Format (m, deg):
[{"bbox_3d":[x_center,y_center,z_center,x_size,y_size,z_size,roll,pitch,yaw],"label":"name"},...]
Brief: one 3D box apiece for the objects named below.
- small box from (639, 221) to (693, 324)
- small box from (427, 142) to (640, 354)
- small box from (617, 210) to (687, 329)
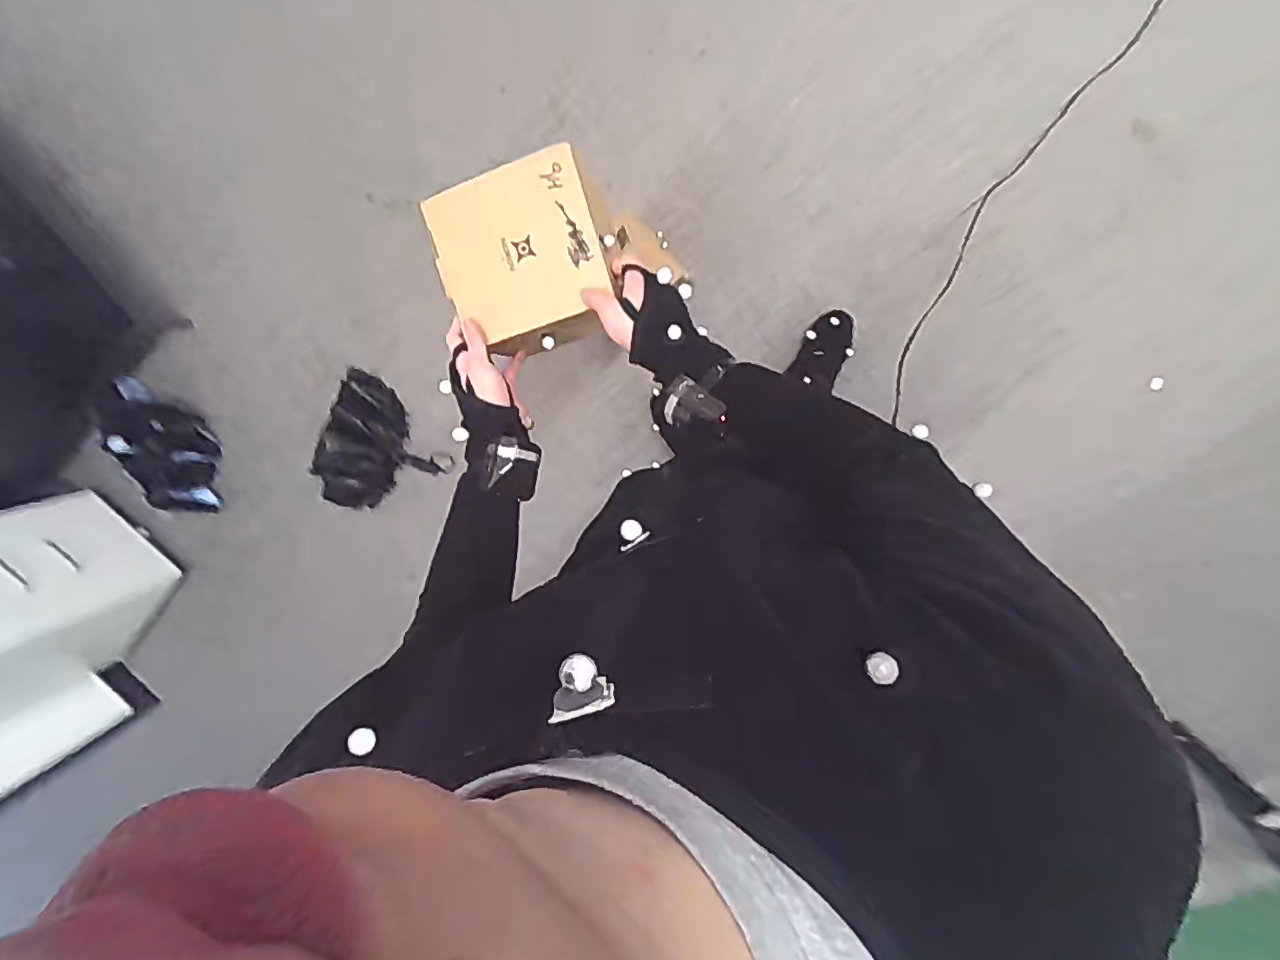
[{"bbox_3d":[0.015,-0.501,1.339,0.168,0.176,0.179,-42,96,19],"label":"small box"},{"bbox_3d":[-0.113,-0.255,0.645,0.179,0.176,0.168,-14,97,11],"label":"small box"},{"bbox_3d":[-0.015,-0.448,1.185,0.168,0.176,0.179,-41,96,18],"label":"small box"}]
